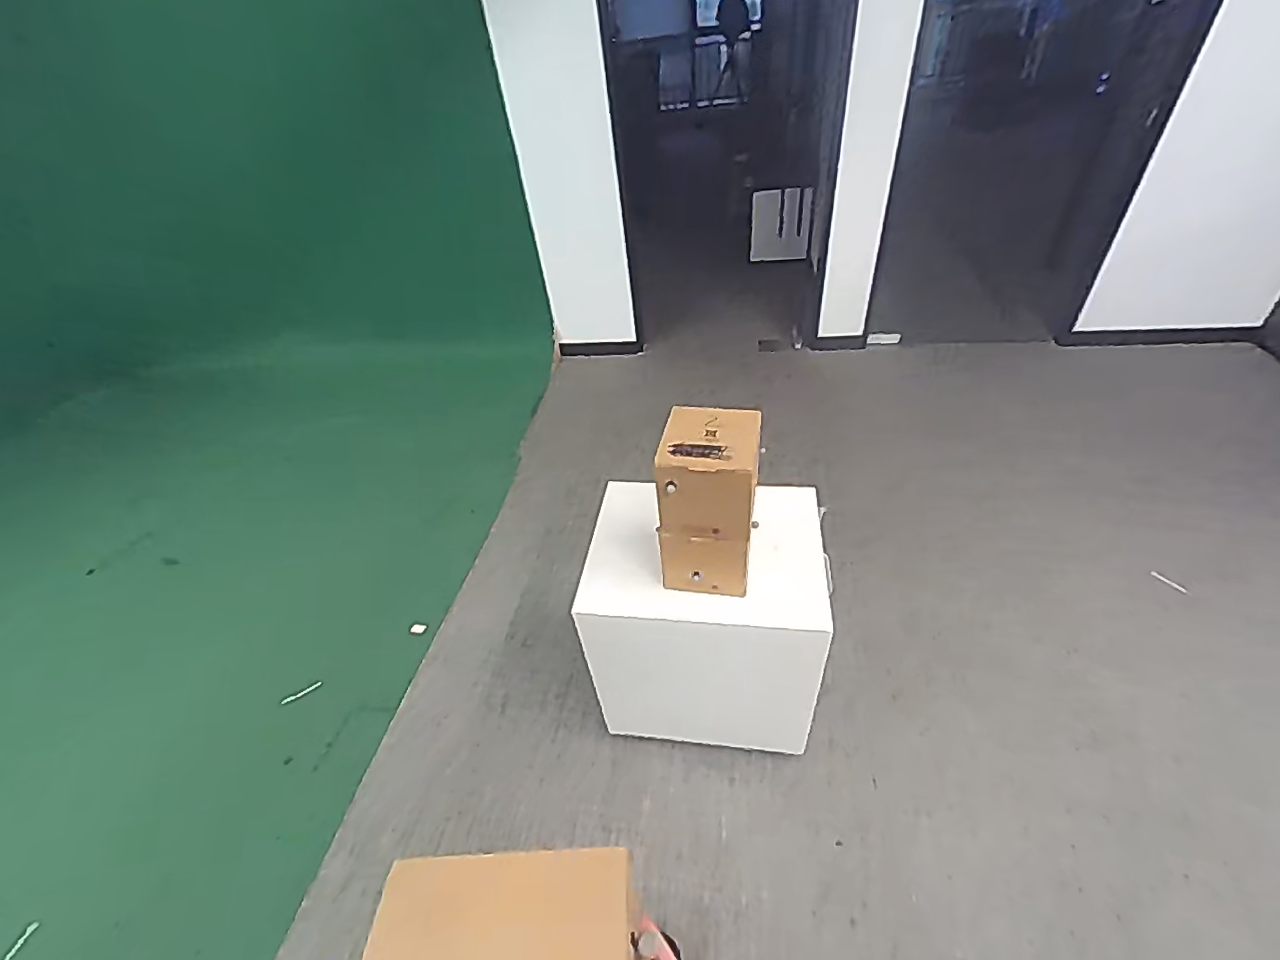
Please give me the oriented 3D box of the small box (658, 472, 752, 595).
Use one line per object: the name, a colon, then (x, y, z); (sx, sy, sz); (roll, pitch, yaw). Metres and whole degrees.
small box: (0.136, 0.106, 1.093); (0.168, 0.176, 0.179); (3, 41, 12)
